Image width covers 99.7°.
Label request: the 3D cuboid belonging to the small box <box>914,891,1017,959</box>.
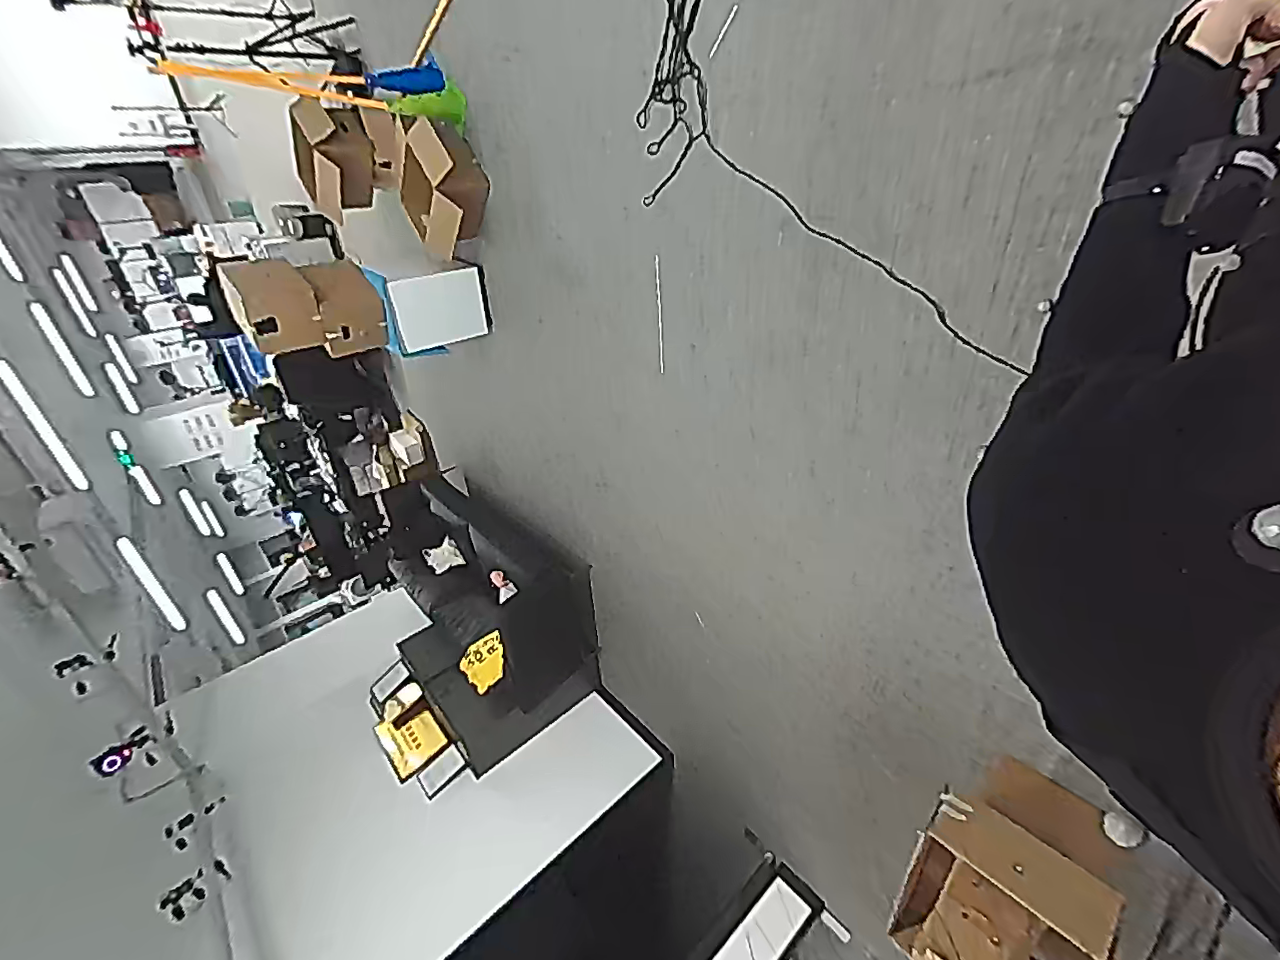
[{"bbox_3d":[0.788,1.163,1.310,0.168,0.176,0.179,12,122,51],"label":"small box"}]

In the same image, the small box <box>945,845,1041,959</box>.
[{"bbox_3d":[0.913,1.105,1.400,0.168,0.176,0.179,12,122,51],"label":"small box"}]
